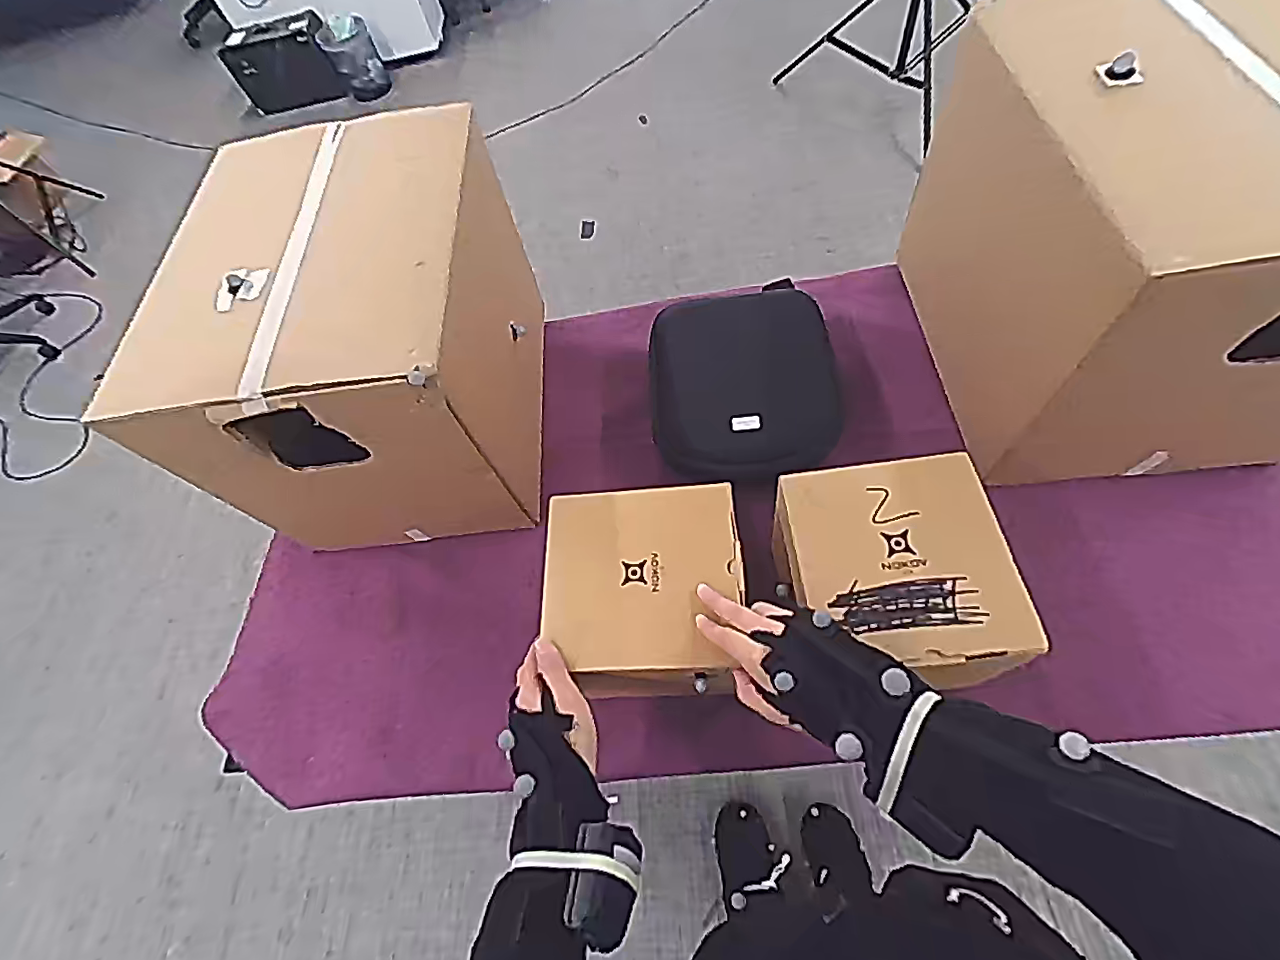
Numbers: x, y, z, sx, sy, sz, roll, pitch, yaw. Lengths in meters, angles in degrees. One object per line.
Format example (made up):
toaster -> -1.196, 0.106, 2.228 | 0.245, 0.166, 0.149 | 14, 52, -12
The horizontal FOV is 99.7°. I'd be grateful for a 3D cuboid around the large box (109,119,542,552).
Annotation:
large box -> -0.313, -0.162, 0.679 | 0.320, 0.320, 0.408 | -8, 63, 4
